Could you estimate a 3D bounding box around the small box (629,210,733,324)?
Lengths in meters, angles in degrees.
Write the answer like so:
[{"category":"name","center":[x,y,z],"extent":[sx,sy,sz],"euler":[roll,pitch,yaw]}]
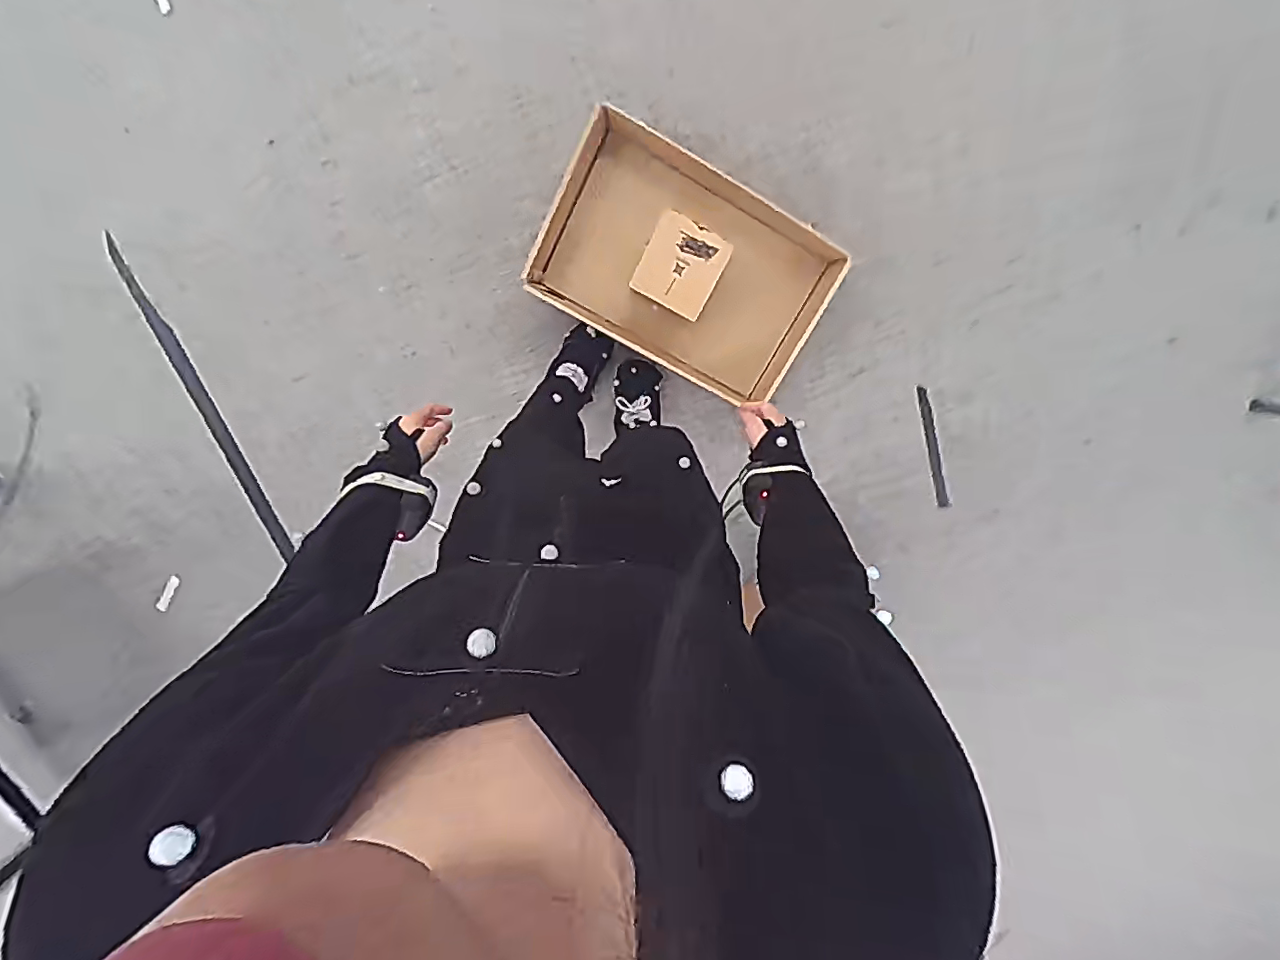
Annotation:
[{"category":"small box","center":[0.084,-0.473,1.219],"extent":[0.168,0.176,0.179],"euler":[27,107,-8]}]
